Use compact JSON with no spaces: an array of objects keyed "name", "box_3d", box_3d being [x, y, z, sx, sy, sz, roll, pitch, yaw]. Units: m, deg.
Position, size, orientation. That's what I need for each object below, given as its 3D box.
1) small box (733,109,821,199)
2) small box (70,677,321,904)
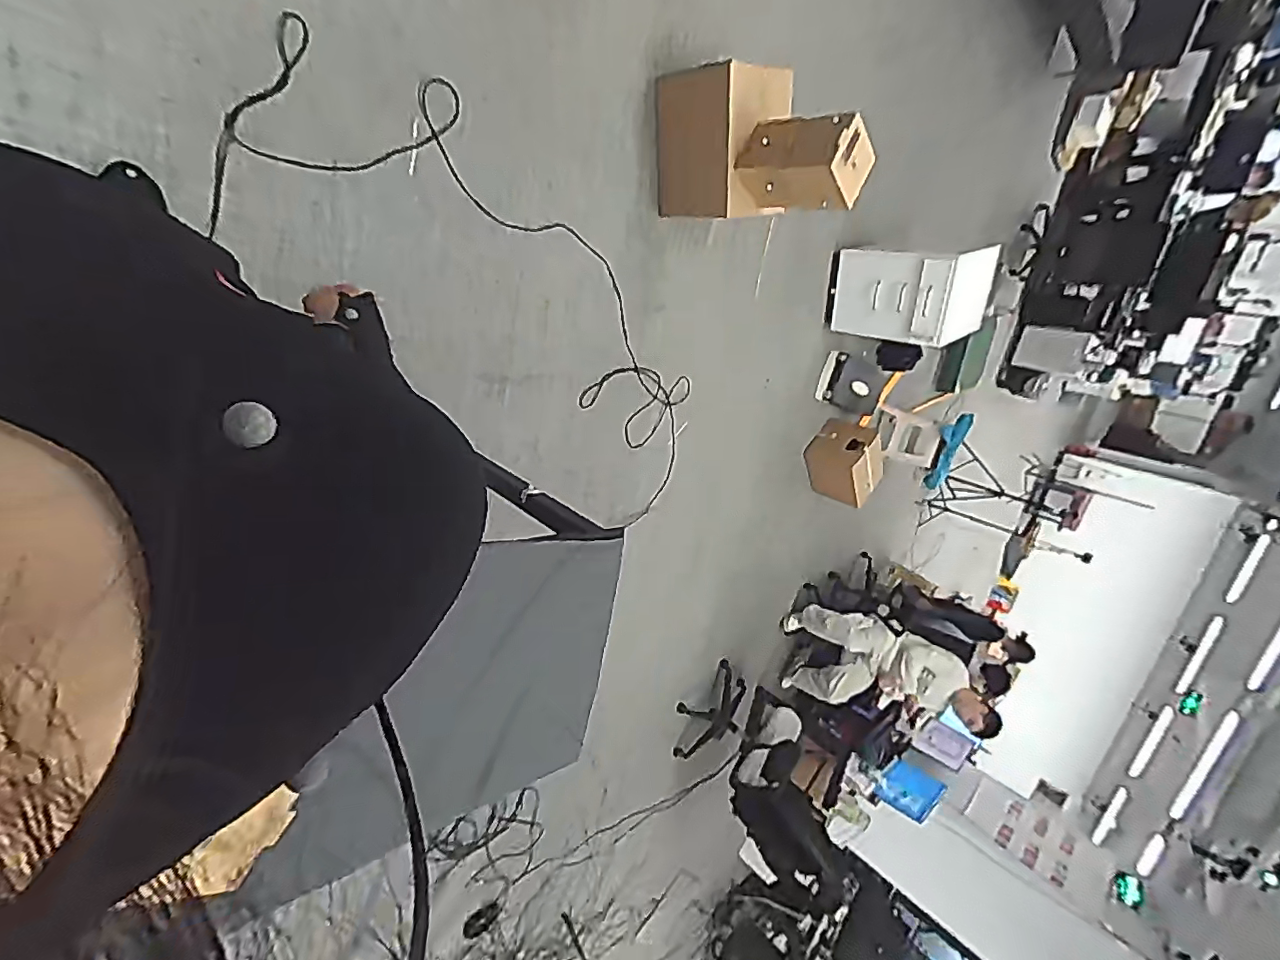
[{"name":"small box","box_3d":[0.415,-0.981,1.650,0.179,0.176,0.168,27,90,-47]},{"name":"small box","box_3d":[-0.548,0.367,0.671,0.168,0.176,0.179,-59,140,-6]}]
